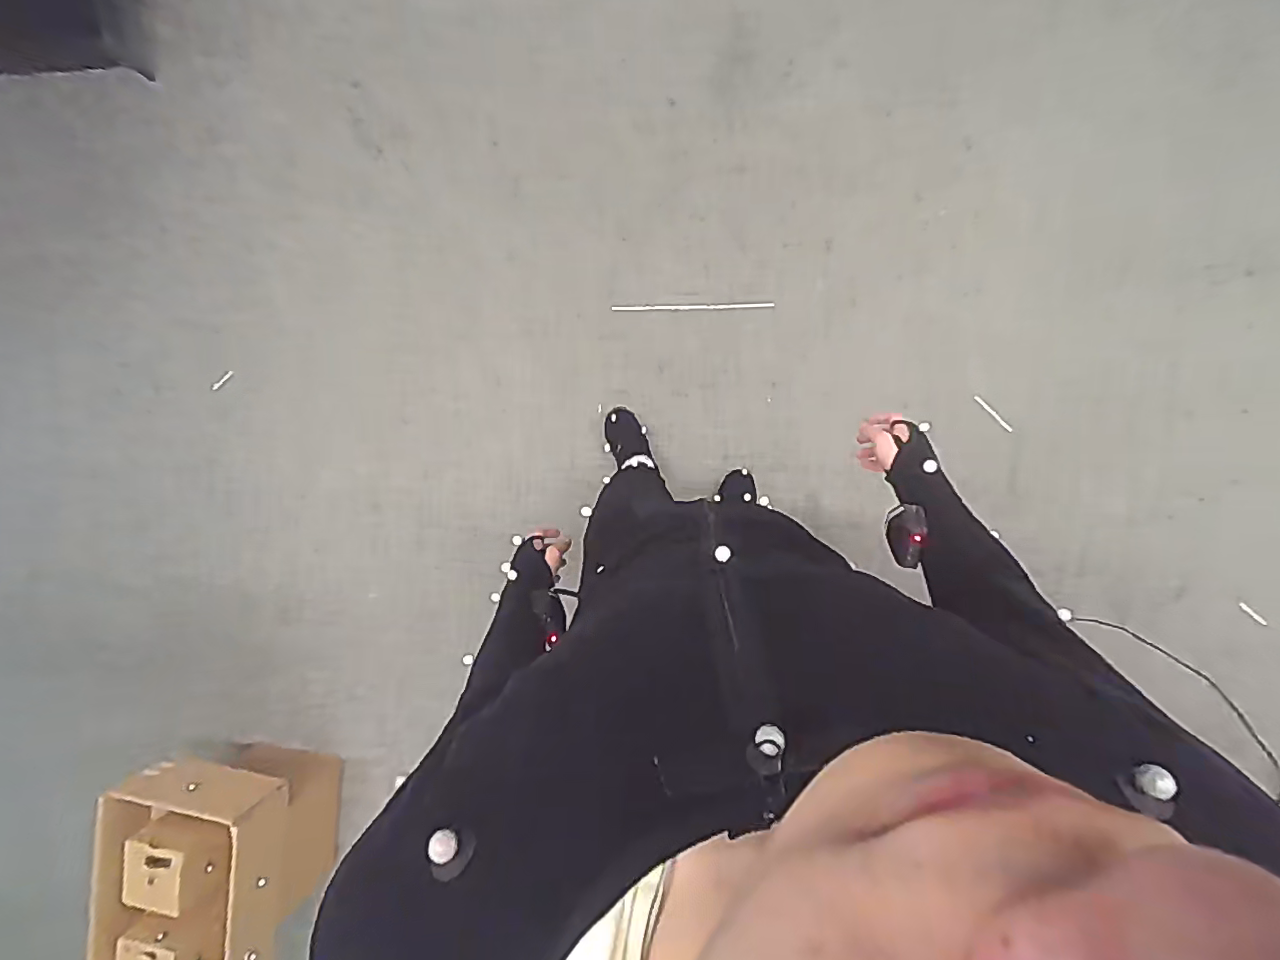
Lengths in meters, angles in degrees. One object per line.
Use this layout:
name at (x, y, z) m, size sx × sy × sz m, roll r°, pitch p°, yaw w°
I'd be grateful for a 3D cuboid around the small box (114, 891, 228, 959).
small box at (-1.249, 1.261, 1.446) m, size 0.168 × 0.176 × 0.179 m, roll 9°, pitch 94°, yaw 7°
